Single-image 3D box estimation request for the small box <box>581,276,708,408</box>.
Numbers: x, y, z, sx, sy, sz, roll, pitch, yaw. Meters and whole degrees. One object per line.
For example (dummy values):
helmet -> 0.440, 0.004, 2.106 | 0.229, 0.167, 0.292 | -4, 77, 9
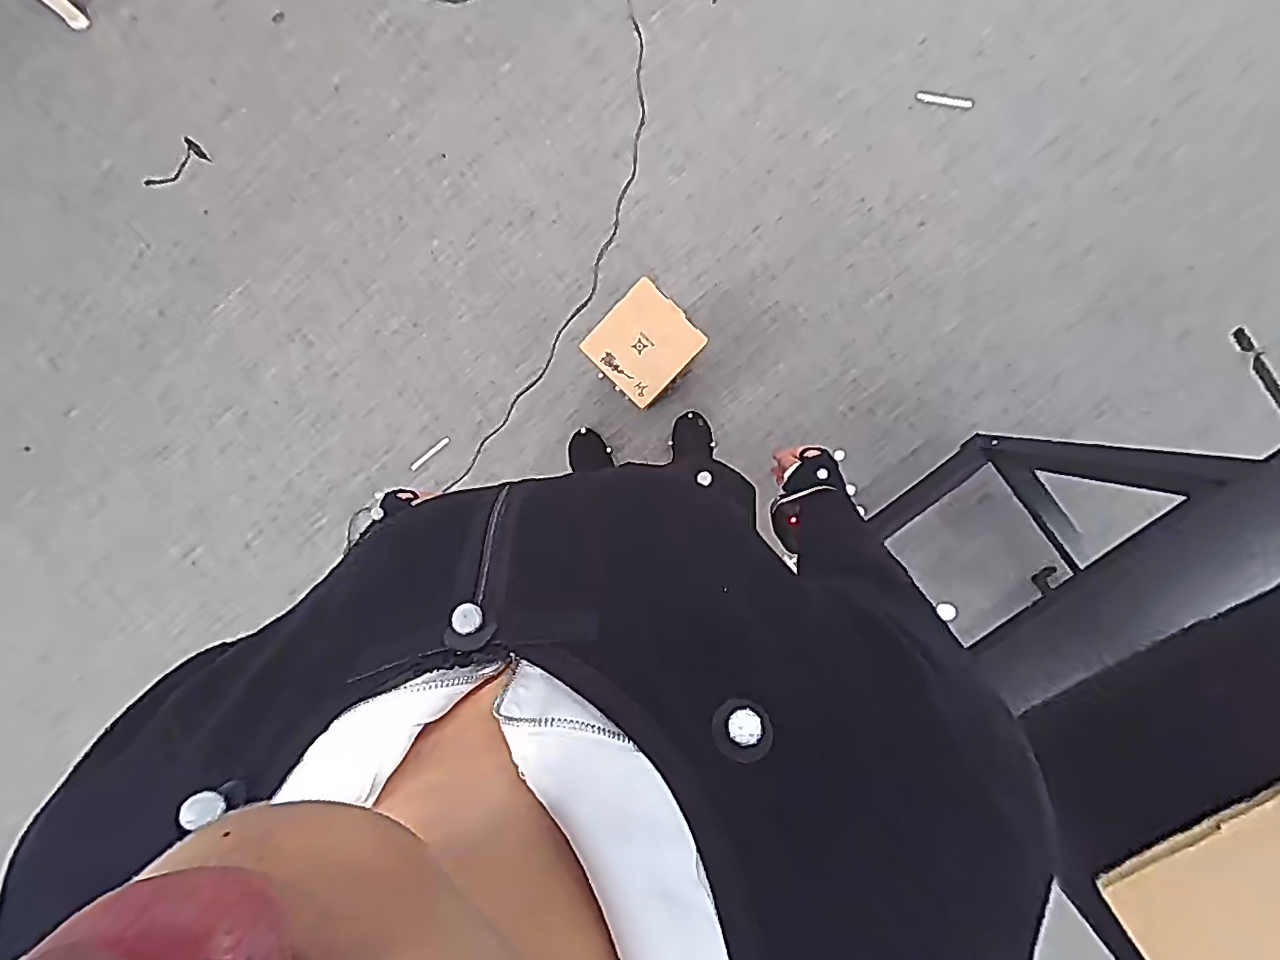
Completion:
small box -> 0.008, -0.257, 1.054 | 0.168, 0.176, 0.179 | 44, 96, -3
